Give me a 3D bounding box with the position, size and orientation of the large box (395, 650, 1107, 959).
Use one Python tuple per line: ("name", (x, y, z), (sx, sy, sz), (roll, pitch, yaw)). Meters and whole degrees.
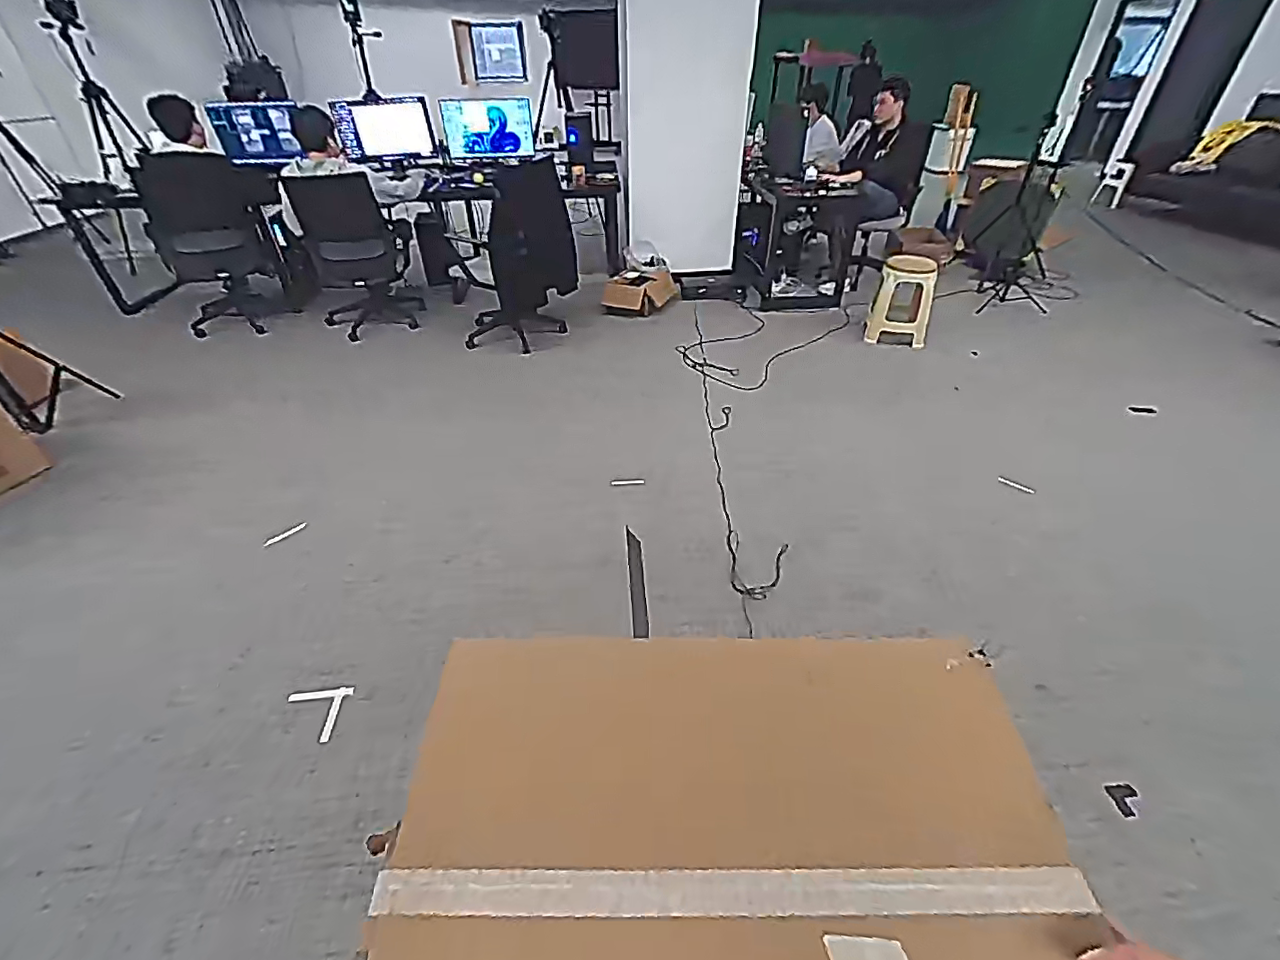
("large box", (0.059, 0.350, 0.427), (0.408, 0.320, 0.320), (0, 47, -1))
